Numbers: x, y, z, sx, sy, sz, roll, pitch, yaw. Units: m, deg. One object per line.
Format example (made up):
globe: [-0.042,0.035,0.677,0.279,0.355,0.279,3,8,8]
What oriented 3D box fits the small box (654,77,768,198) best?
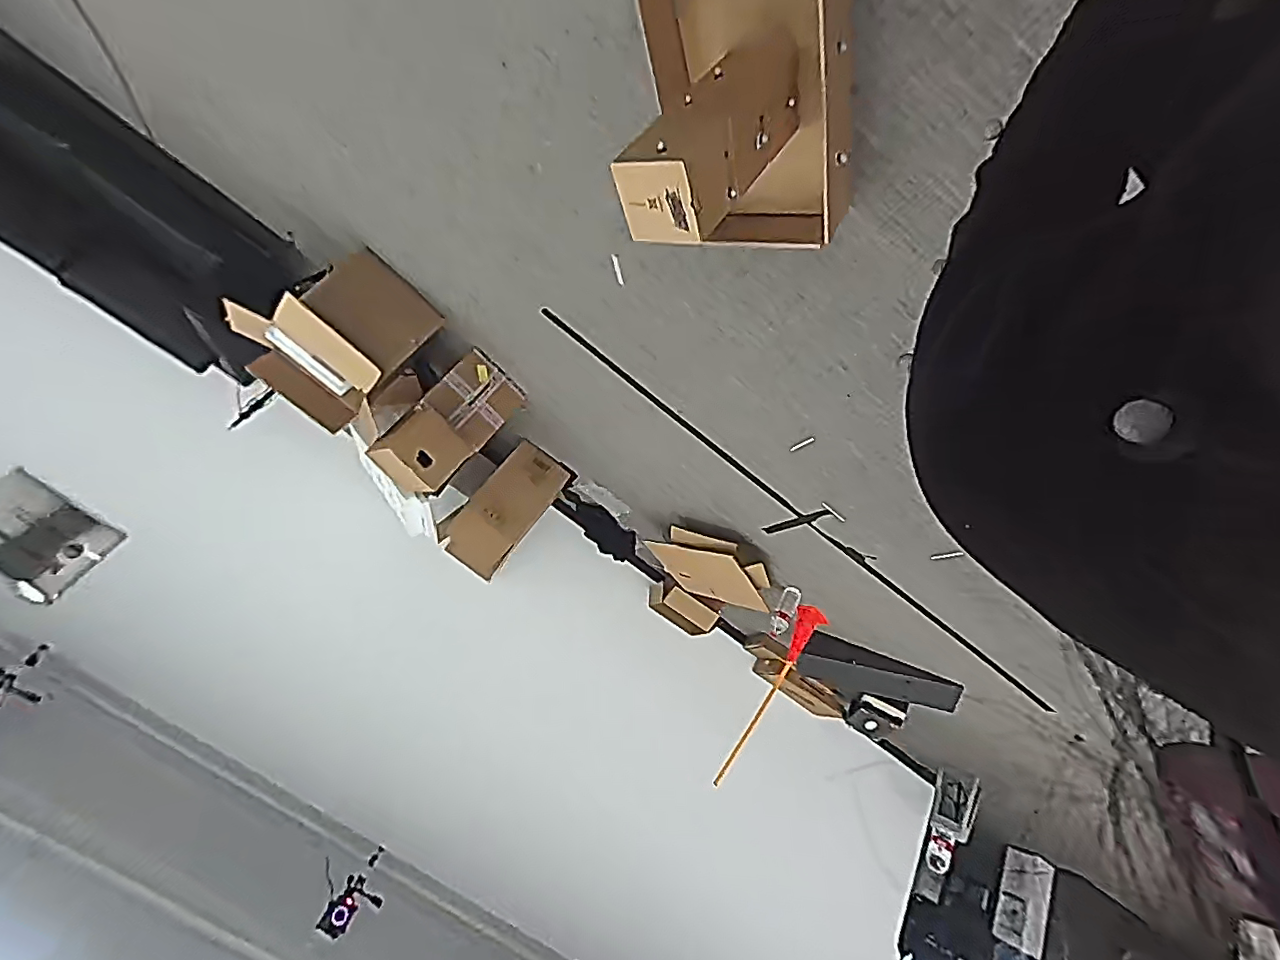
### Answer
small box: [0.158,-0.733,1.163,0.179,0.176,0.168,18,151,29]

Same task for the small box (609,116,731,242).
small box: [0.072,-0.610,1.096,0.179,0.176,0.168,19,151,31]

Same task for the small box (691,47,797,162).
small box: [0.241,-0.854,1.232,0.179,0.176,0.168,19,151,28]
